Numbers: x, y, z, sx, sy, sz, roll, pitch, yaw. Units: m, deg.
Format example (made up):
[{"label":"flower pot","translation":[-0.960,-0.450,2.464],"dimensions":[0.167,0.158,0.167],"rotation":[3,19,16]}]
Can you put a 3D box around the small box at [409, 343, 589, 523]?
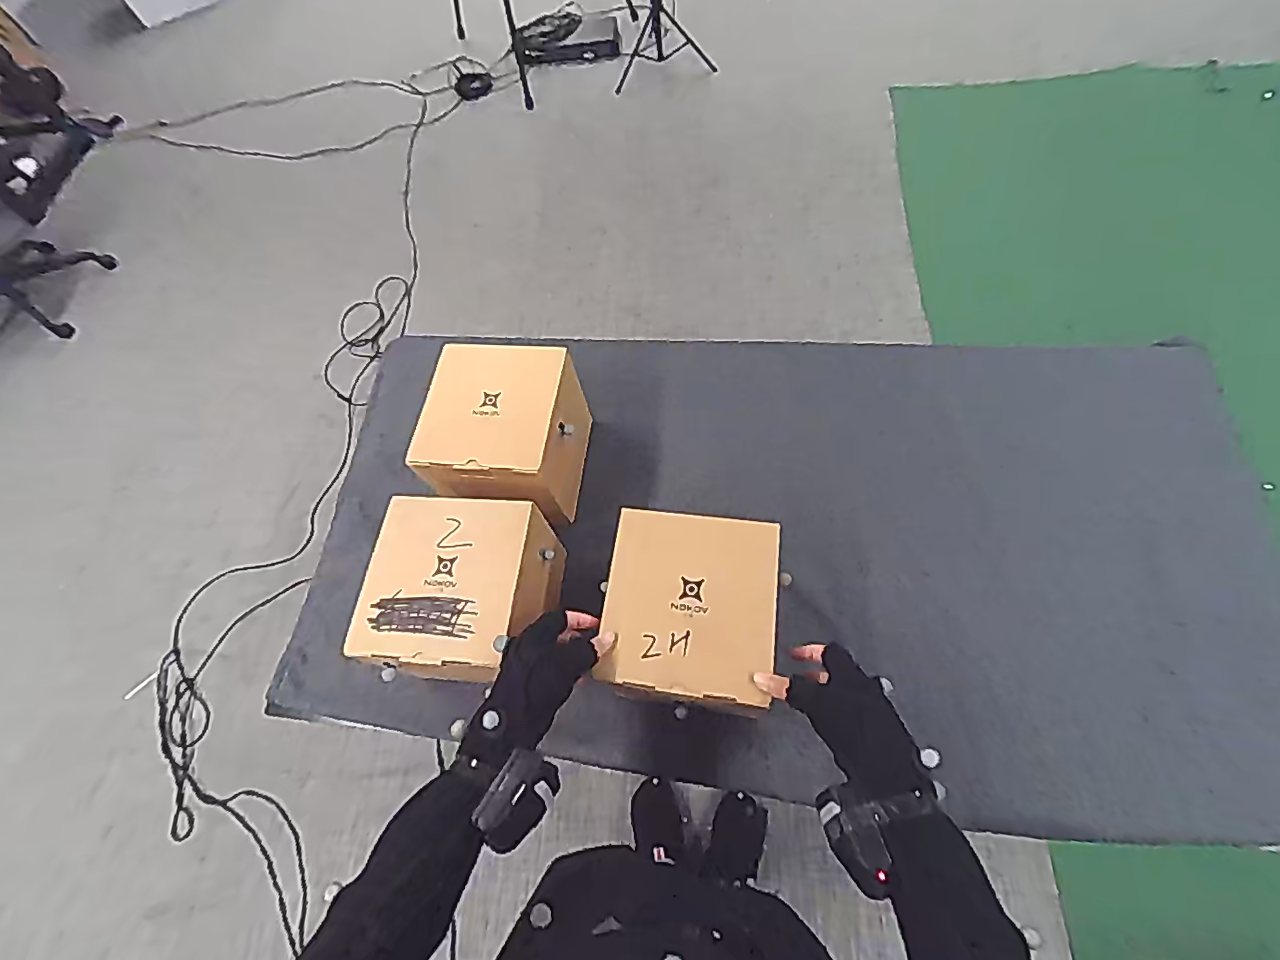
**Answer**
[{"label":"small box","translation":[-0.170,-0.058,0.722],"dimensions":[0.168,0.176,0.179],"rotation":[4,66,8]}]

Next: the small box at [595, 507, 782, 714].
[{"label":"small box","translation":[0.058,0.148,0.595],"dimensions":[0.168,0.176,0.179],"rotation":[6,65,9]}]
